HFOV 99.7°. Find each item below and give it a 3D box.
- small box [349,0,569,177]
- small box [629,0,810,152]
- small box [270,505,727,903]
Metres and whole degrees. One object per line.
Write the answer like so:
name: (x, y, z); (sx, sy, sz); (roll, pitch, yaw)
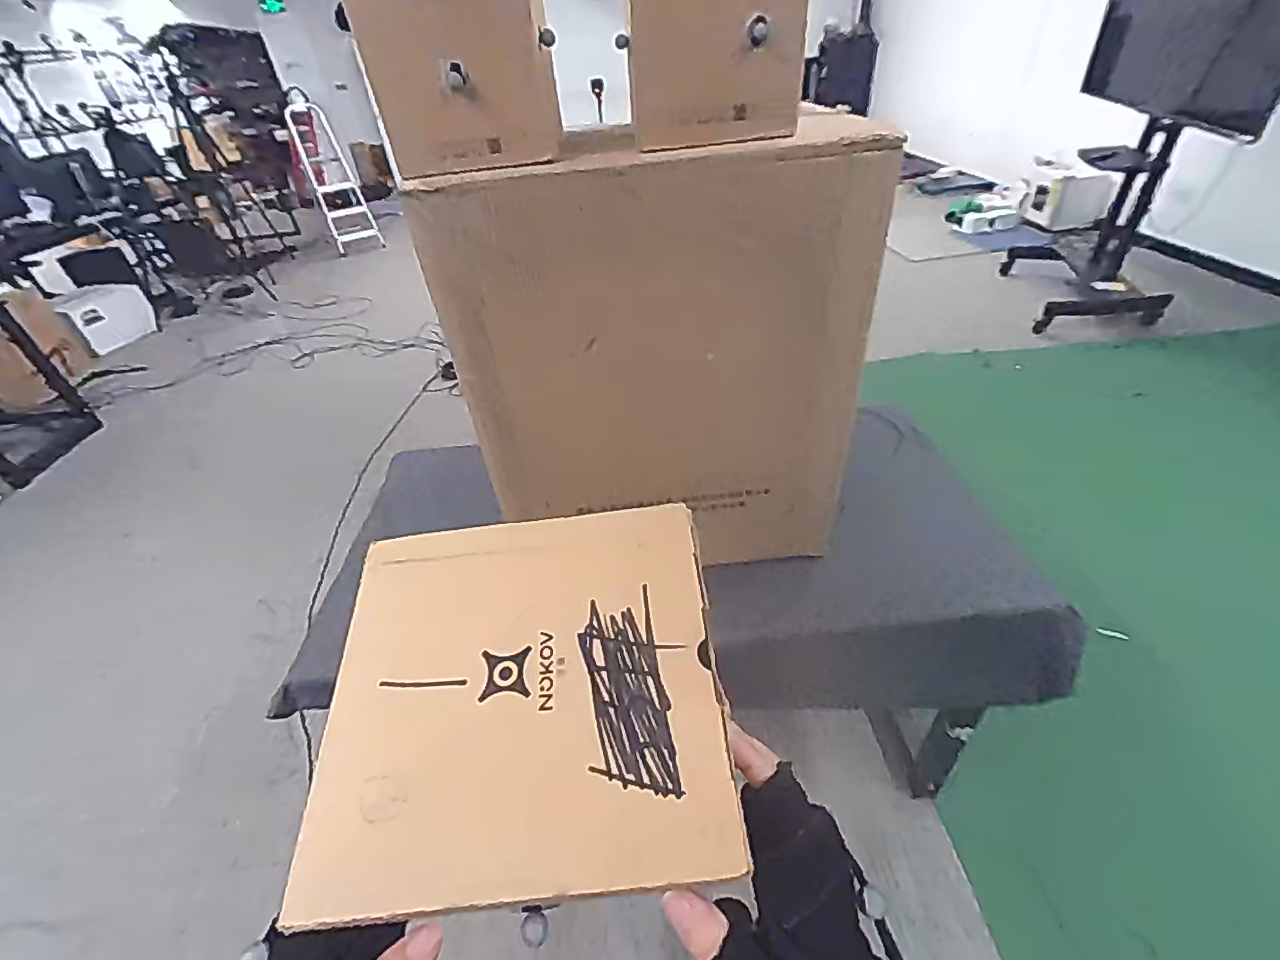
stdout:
small box: (-0.172, -0.436, 0.578); (0.168, 0.176, 0.179); (-5, 41, 1)
small box: (0.076, -0.457, 0.575); (0.168, 0.176, 0.179); (-4, 39, -1)
small box: (-0.055, 0.133, 0.314); (0.179, 0.176, 0.168); (-5, 53, 0)
